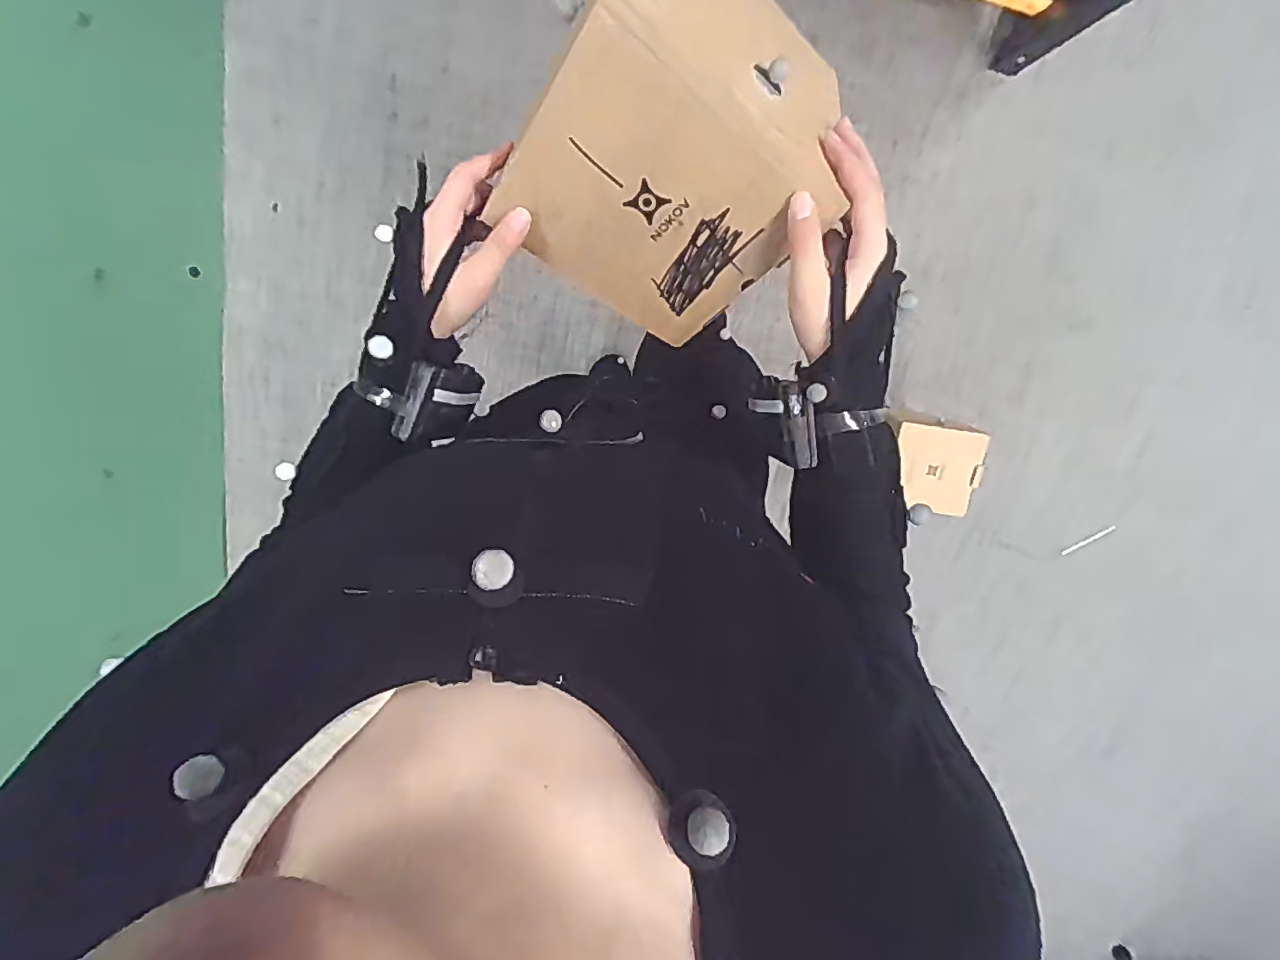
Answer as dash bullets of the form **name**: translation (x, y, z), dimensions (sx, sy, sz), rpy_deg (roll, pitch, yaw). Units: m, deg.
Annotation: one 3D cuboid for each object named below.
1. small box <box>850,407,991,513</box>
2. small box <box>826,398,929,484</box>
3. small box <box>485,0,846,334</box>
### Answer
- **small box**: translation (0.555, -0.047, 1.095), dimensions (0.179, 0.176, 0.168), rpy_deg (8, 107, -1)
- **small box**: translation (0.549, -0.088, 1.253), dimensions (0.168, 0.176, 0.179), rpy_deg (8, 107, -2)
- **small box**: translation (0.022, -0.246, 0.383), dimensions (0.179, 0.176, 0.168), rpy_deg (26, 145, -27)
